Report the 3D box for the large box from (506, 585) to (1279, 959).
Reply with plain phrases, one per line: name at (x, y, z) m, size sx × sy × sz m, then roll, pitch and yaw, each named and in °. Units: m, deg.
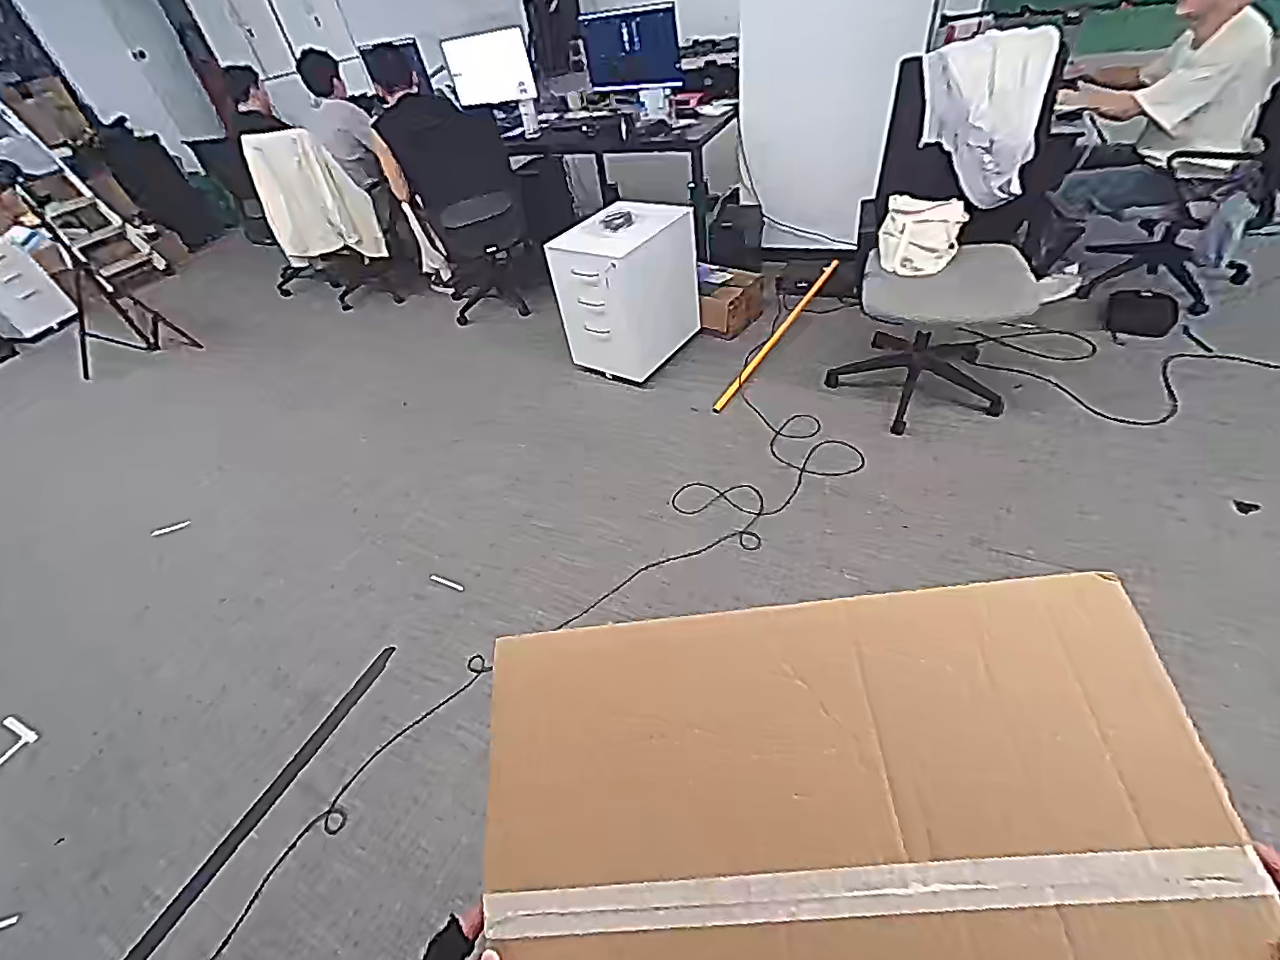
large box at (0.137, 0.299, 0.433) m, size 0.408 × 0.320 × 0.320 m, roll -8°, pitch 64°, yaw 6°
